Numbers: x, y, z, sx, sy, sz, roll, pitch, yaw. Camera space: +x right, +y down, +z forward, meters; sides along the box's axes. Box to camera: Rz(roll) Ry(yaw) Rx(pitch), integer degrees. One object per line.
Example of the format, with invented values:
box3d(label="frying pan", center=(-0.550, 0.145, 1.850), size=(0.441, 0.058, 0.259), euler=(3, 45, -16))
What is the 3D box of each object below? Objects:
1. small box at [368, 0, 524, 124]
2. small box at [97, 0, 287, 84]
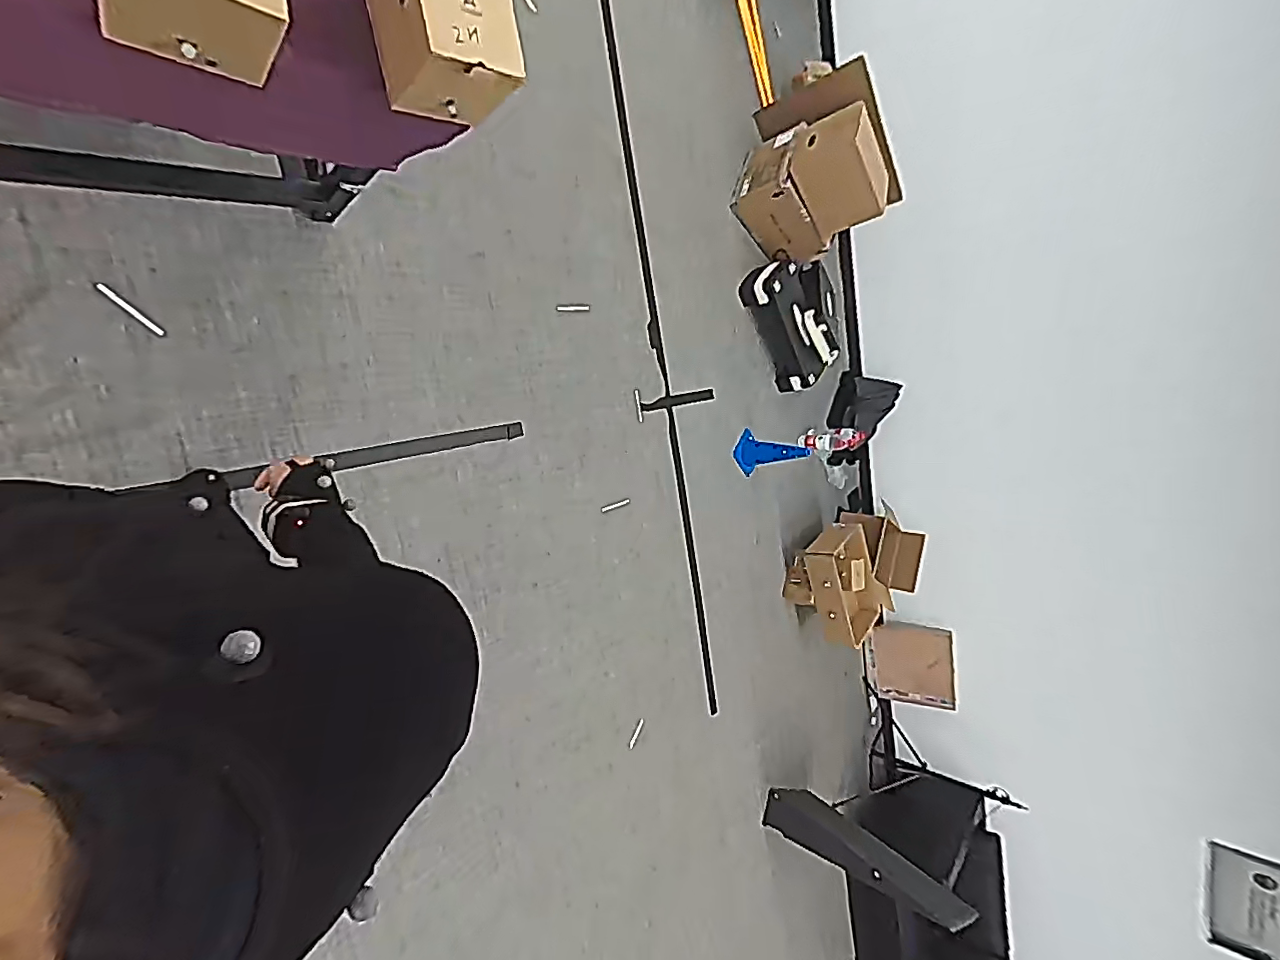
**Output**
box3d(label="small box", center=(-0.316, -0.720, 0.873), size=(0.168, 0.176, 0.179), euler=(-19, 104, -41))
box3d(label="small box", center=(-0.549, -0.635, 0.651), size=(0.168, 0.176, 0.179), euler=(-10, 99, -44))
